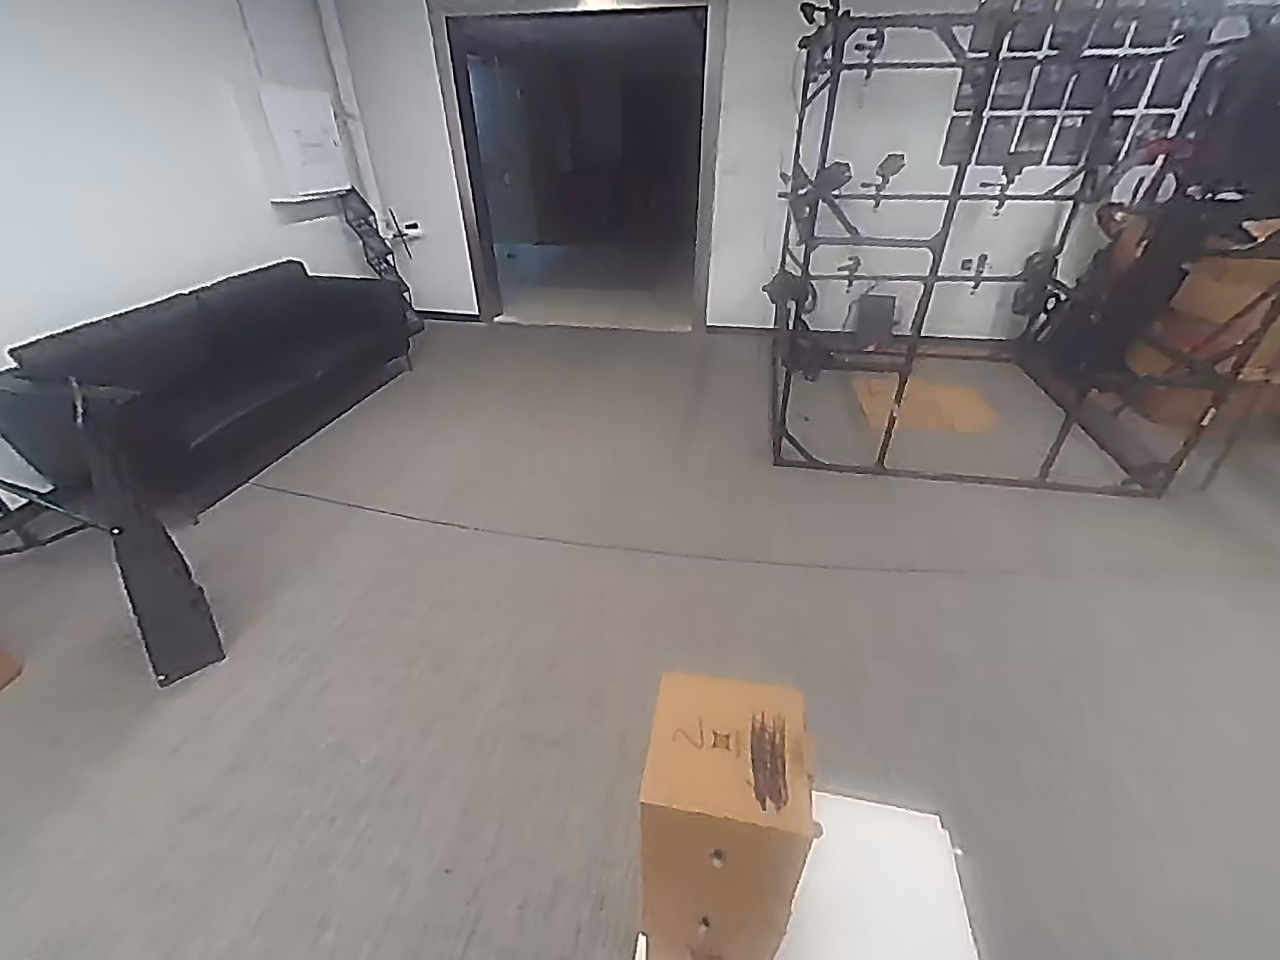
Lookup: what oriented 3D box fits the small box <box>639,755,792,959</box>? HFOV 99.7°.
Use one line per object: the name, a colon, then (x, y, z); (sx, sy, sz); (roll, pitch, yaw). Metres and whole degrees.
small box: (0.101, 0.505, 0.722); (0.179, 0.176, 0.168); (5, 33, 11)
